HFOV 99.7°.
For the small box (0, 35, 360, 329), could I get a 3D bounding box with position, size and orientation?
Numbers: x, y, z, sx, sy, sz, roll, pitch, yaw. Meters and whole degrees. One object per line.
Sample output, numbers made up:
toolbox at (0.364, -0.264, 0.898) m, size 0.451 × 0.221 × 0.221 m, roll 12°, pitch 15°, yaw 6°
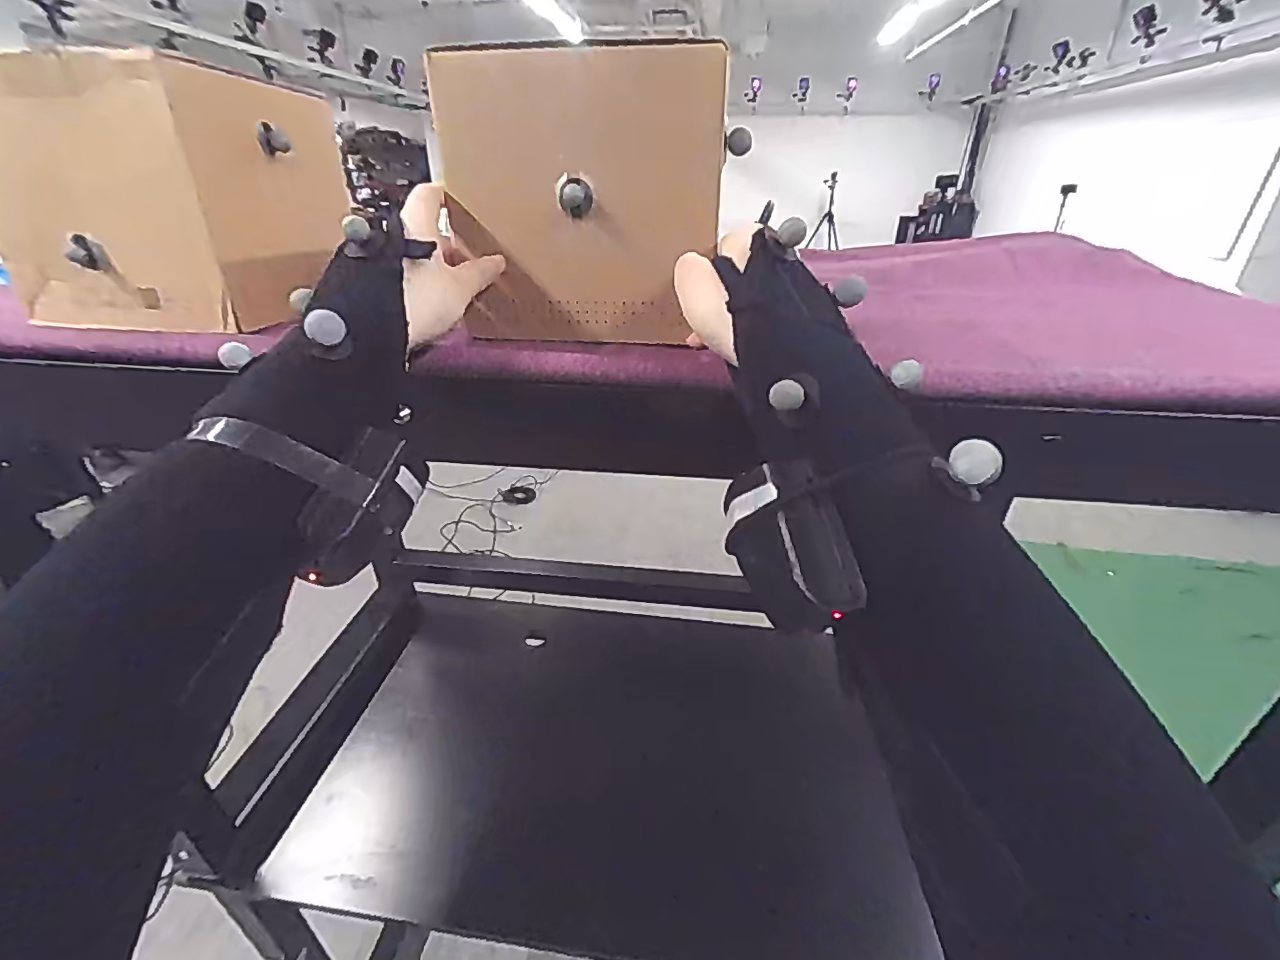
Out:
small box at (-0.351, -0.226, 0.431) m, size 0.168 × 0.176 × 0.179 m, roll 3°, pitch 28°, yaw 3°
